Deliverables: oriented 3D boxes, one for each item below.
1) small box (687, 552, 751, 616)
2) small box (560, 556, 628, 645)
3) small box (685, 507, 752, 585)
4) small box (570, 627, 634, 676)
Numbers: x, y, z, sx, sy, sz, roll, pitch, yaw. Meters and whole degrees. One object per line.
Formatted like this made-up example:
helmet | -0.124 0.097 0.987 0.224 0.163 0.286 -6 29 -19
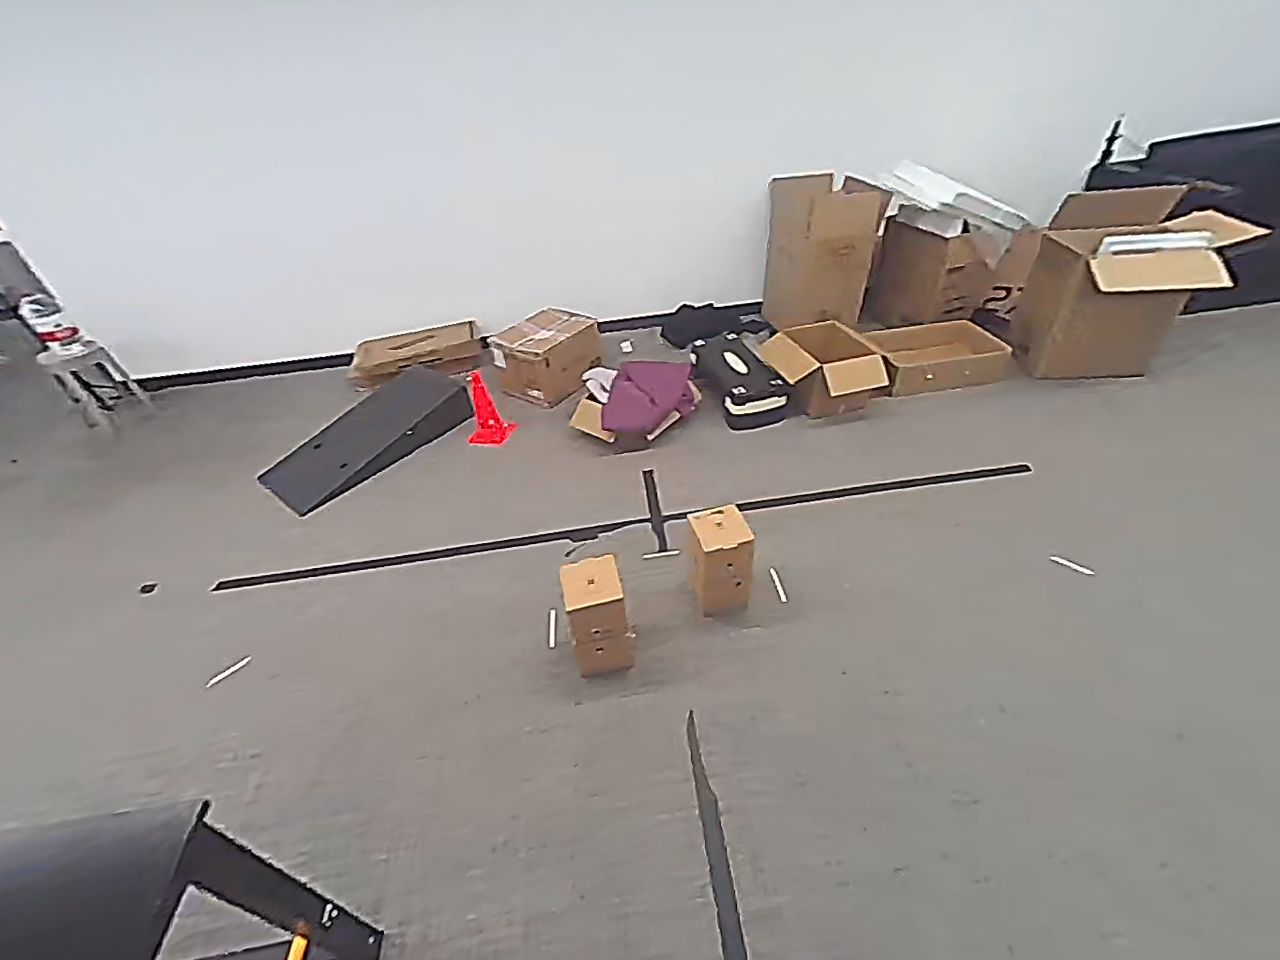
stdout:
small box | 0.266 0.339 1.855 0.179 0.176 0.168 -12 39 -7
small box | -0.136 0.361 1.615 0.168 0.176 0.179 -13 41 -7
small box | 0.252 0.218 1.745 0.168 0.176 0.179 -12 40 -8
small box | -0.122 0.494 1.708 0.179 0.176 0.168 -10 39 -5
